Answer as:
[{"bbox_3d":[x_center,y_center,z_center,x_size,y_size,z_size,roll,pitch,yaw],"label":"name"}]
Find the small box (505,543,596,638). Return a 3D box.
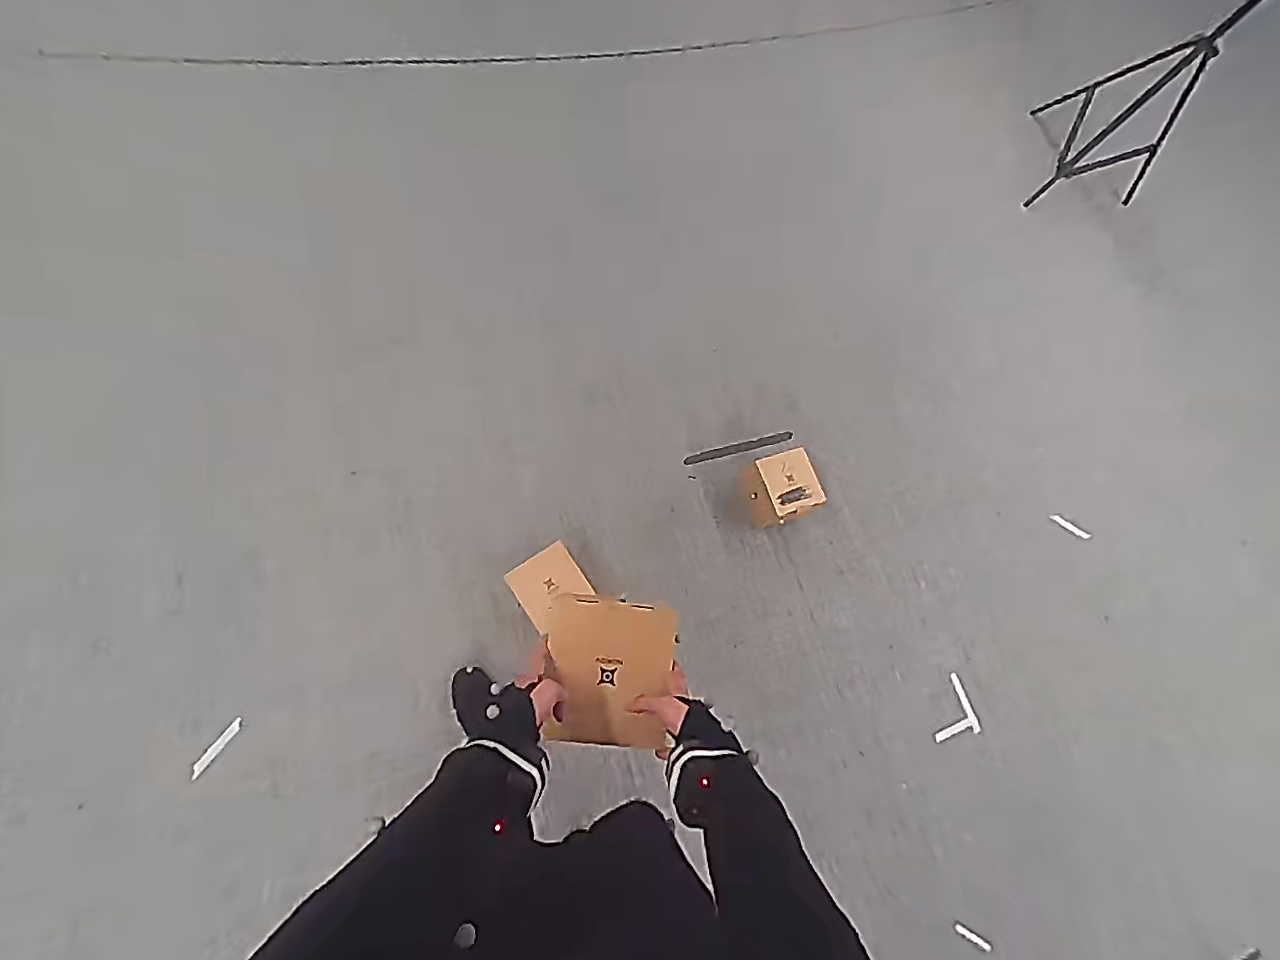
[{"bbox_3d":[-0.232,0.291,1.394,0.168,0.176,0.179,-32,82,-20],"label":"small box"}]

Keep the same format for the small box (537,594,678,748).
[{"bbox_3d":[-0.043,0.258,0.766,0.168,0.176,0.179,6,78,-3],"label":"small box"}]
